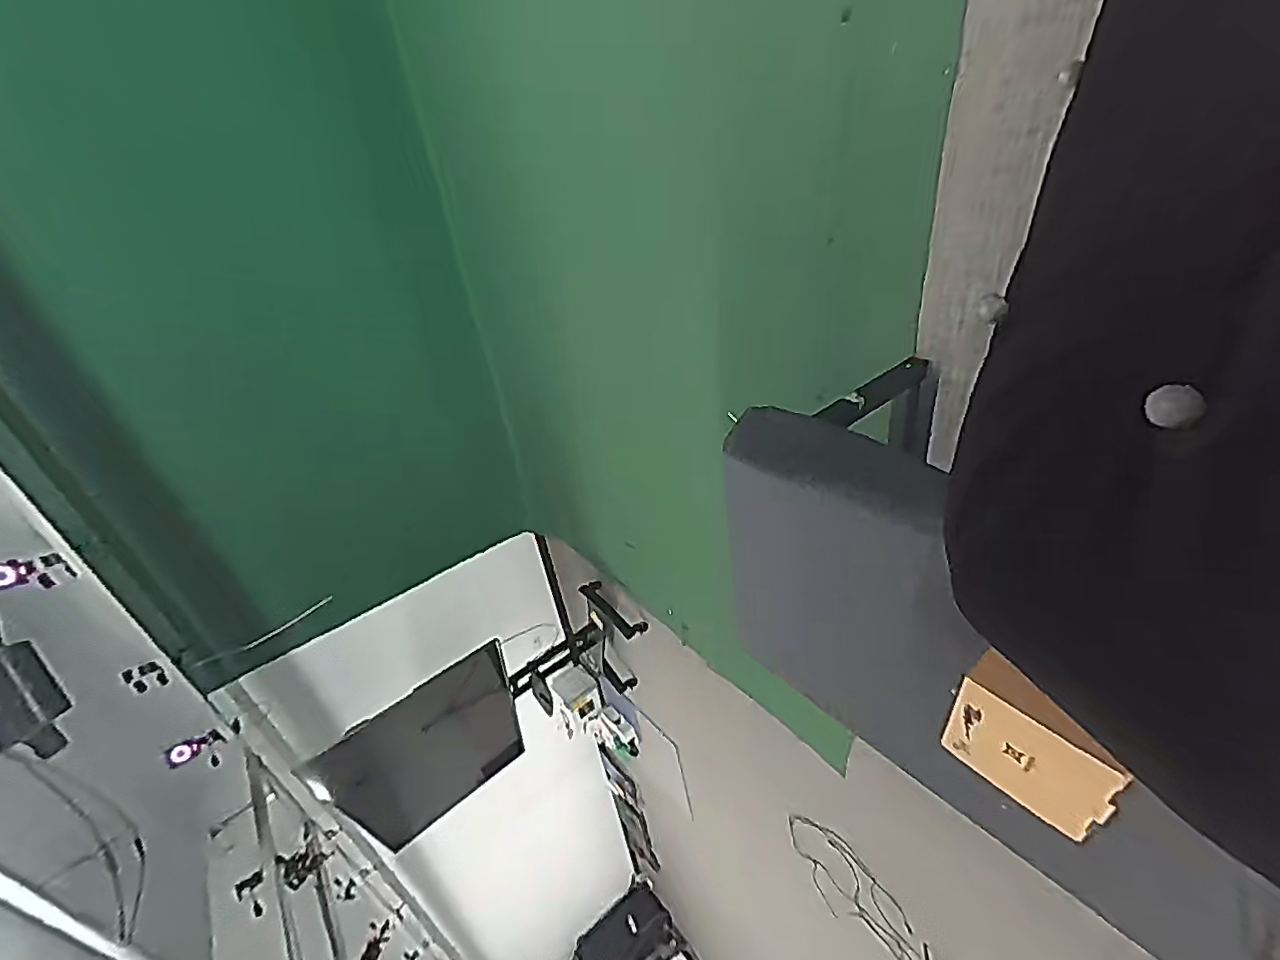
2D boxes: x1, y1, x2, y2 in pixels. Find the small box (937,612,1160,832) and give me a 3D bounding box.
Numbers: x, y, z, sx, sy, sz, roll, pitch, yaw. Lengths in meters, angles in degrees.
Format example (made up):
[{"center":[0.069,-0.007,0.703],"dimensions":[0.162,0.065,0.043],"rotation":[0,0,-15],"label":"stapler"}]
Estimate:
[{"center":[0.544,0.313,0.730],"dimensions":[0.179,0.176,0.168],"rotation":[32,141,43],"label":"small box"}]
